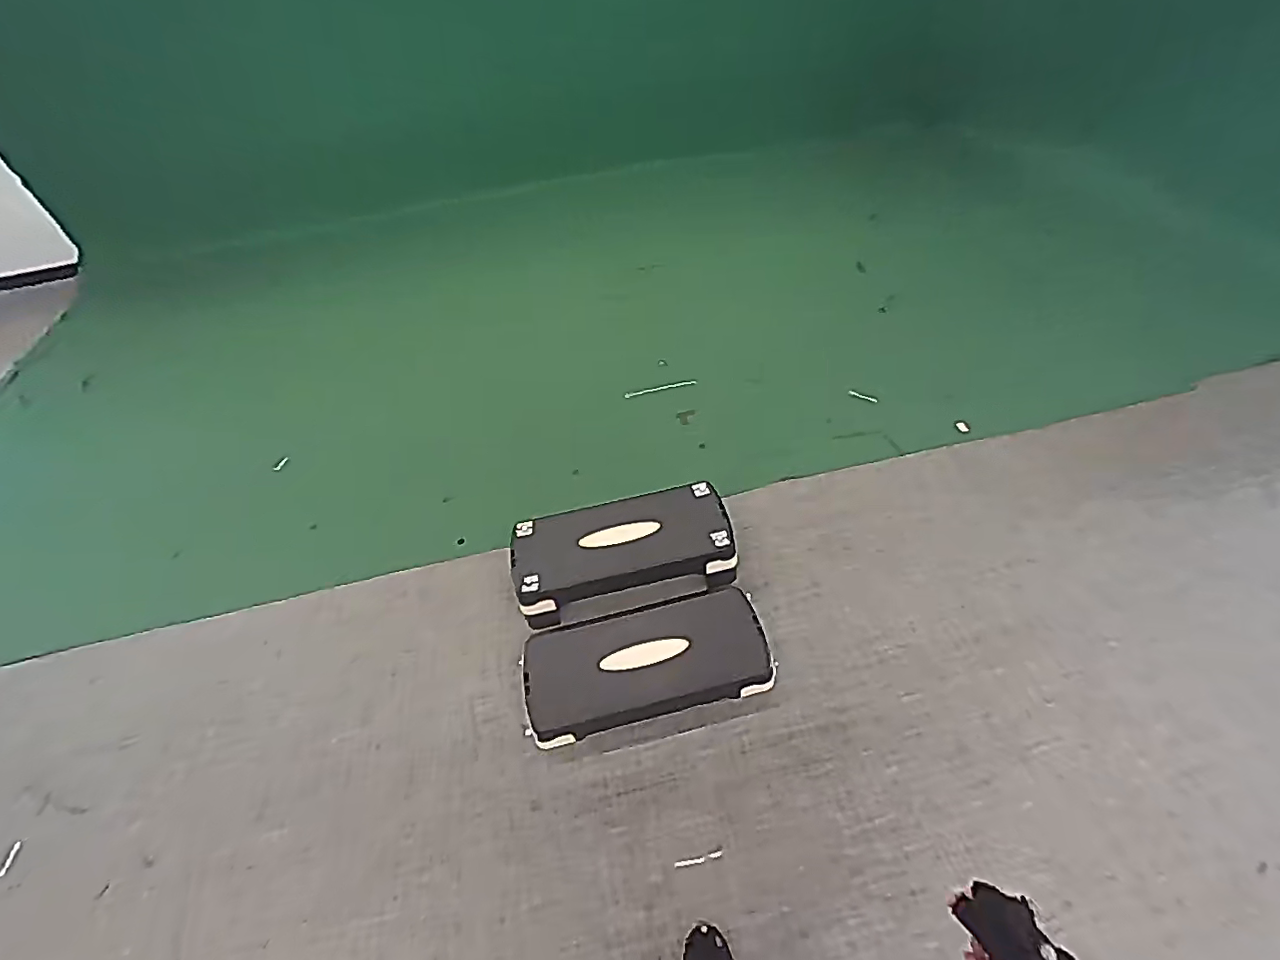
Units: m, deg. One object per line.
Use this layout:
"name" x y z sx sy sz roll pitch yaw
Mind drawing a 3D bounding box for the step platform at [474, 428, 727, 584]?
"step platform" -0.105 0.071 1.539 0.684 0.204 0.286 -13 49 -4
